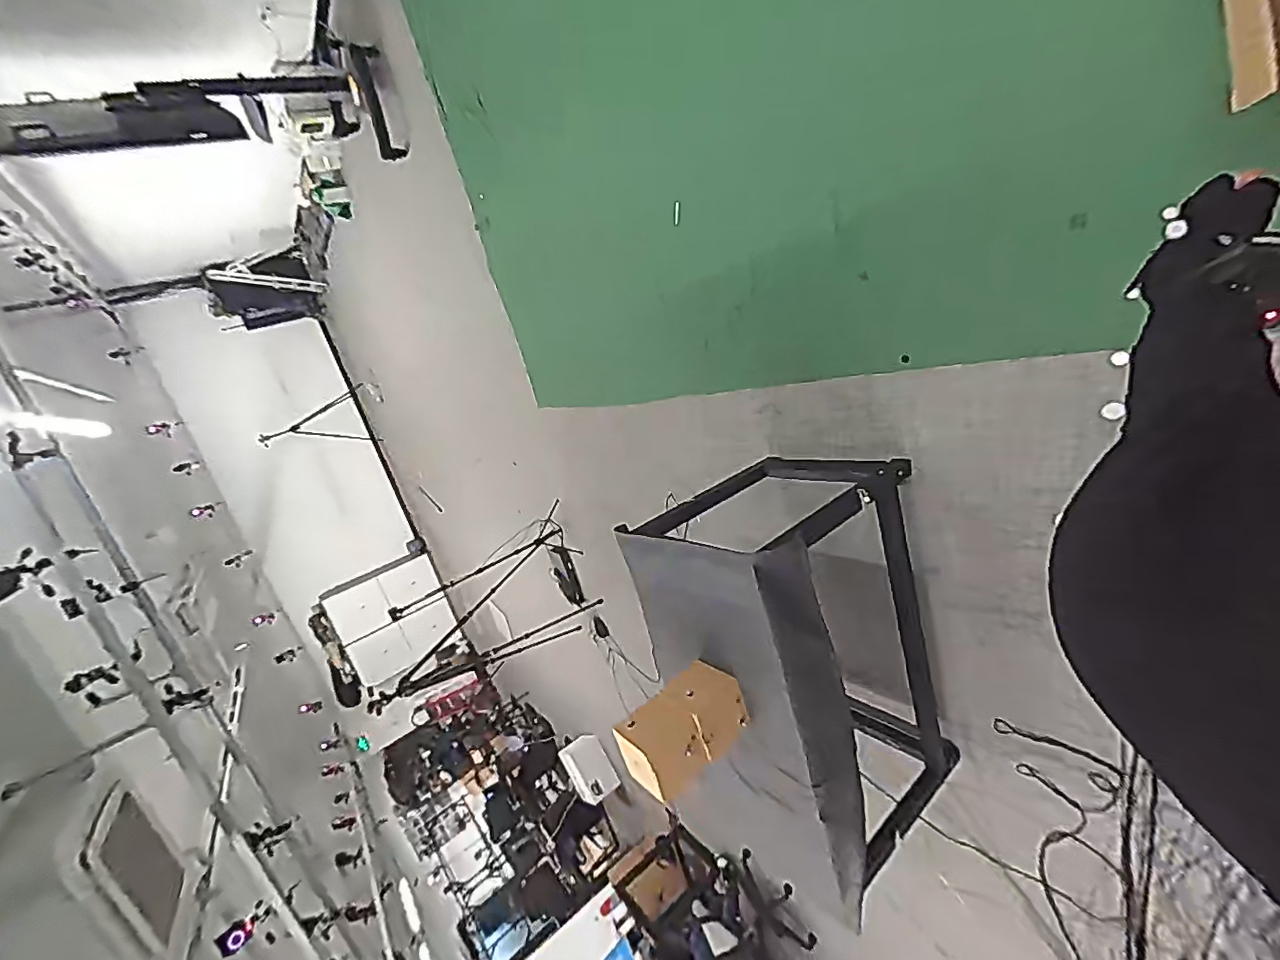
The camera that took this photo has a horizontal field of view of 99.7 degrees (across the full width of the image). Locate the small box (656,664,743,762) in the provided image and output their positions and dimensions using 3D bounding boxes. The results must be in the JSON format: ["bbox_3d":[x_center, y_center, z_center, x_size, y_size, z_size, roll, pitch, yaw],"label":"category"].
[{"bbox_3d":[0.180,0.666,1.573,0.179,0.176,0.168,5,116,57],"label":"small box"}]

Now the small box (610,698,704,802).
[{"bbox_3d":[0.048,0.739,1.505,0.179,0.176,0.168,1,113,56],"label":"small box"}]
